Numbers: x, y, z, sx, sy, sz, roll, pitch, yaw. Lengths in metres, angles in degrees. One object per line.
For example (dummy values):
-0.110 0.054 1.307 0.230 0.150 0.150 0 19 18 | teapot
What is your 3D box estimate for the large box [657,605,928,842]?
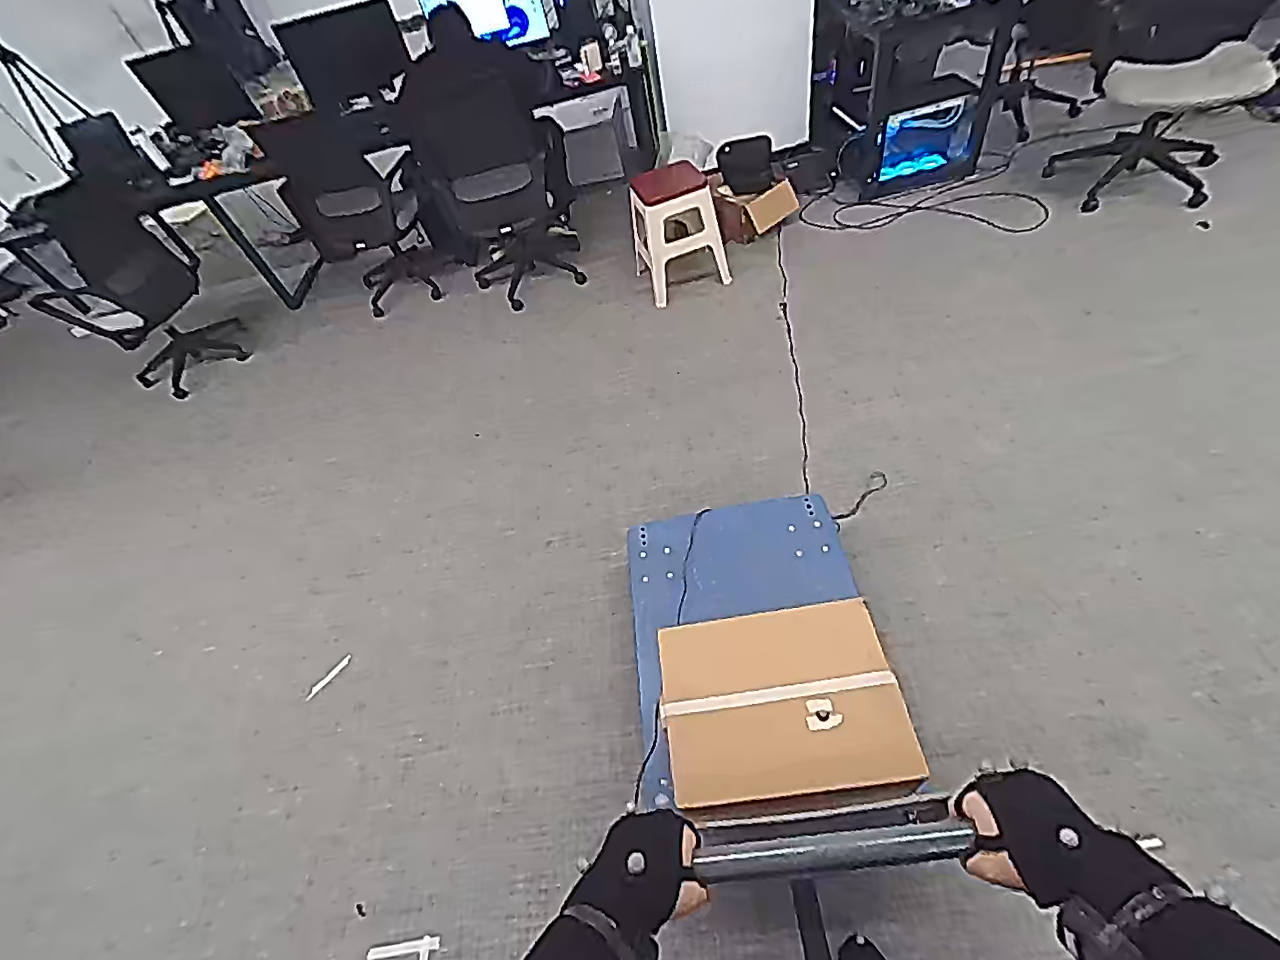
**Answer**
0.265 0.484 1.055 0.408 0.320 0.320 -10 50 5 | large box
